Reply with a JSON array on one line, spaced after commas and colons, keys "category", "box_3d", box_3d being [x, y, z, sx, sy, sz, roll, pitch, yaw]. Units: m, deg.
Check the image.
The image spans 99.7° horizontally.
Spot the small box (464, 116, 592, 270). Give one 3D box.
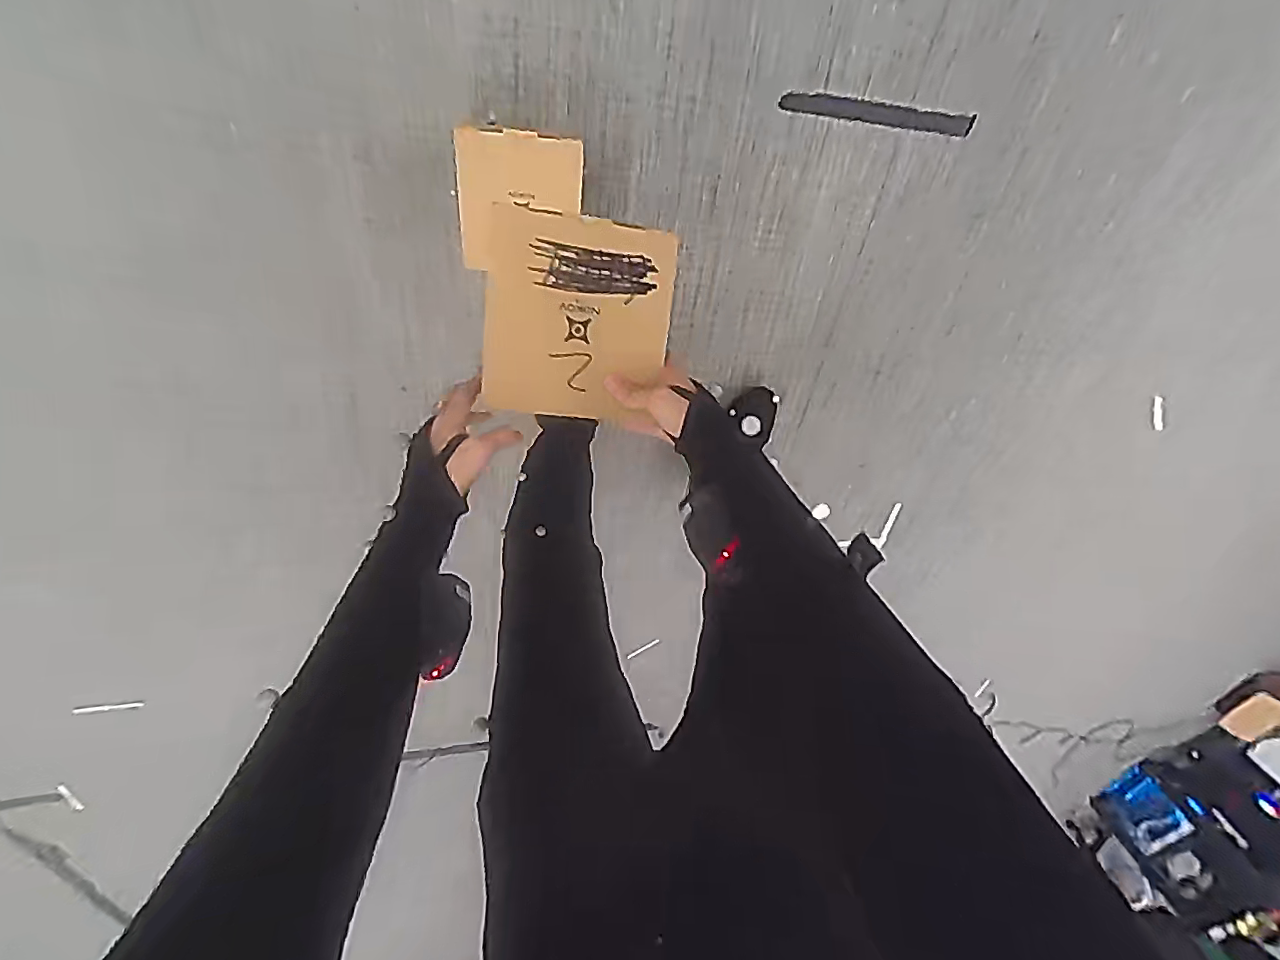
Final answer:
[{"category": "small box", "box_3d": [-0.167, -0.428, 0.803, 0.168, 0.176, 0.179, -1, 126, -12]}]
